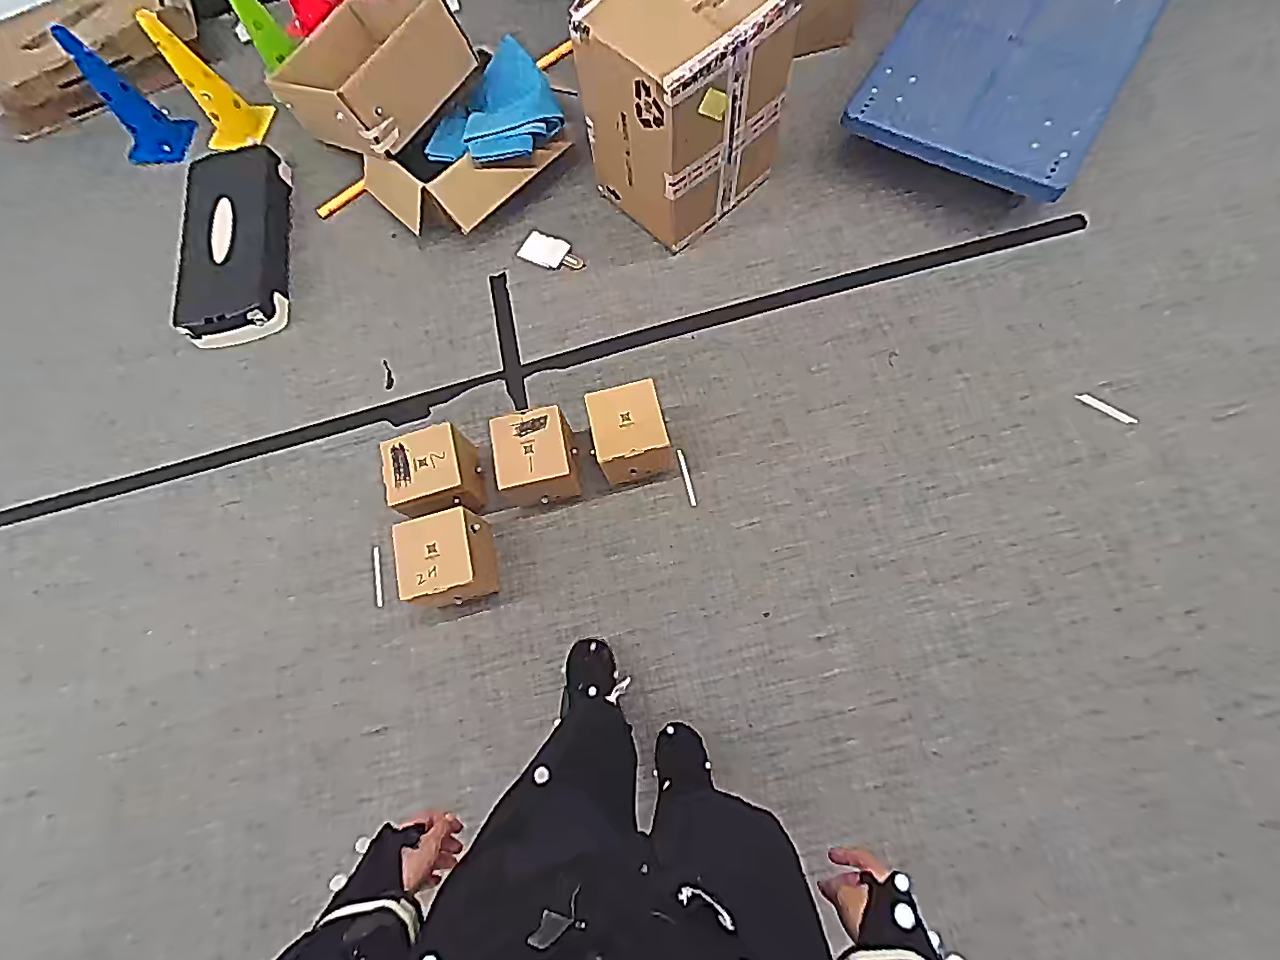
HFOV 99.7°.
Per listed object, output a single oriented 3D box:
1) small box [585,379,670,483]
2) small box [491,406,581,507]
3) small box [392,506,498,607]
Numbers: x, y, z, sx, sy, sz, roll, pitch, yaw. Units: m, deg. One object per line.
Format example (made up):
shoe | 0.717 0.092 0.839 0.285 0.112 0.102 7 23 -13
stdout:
small box | -0.027 -0.112 1.299 0.168 0.176 0.179 -14 72 0
small box | -0.246 -0.051 1.296 0.168 0.176 0.179 -12 72 1
small box | -0.441 0.181 1.238 0.168 0.176 0.179 -16 72 1
